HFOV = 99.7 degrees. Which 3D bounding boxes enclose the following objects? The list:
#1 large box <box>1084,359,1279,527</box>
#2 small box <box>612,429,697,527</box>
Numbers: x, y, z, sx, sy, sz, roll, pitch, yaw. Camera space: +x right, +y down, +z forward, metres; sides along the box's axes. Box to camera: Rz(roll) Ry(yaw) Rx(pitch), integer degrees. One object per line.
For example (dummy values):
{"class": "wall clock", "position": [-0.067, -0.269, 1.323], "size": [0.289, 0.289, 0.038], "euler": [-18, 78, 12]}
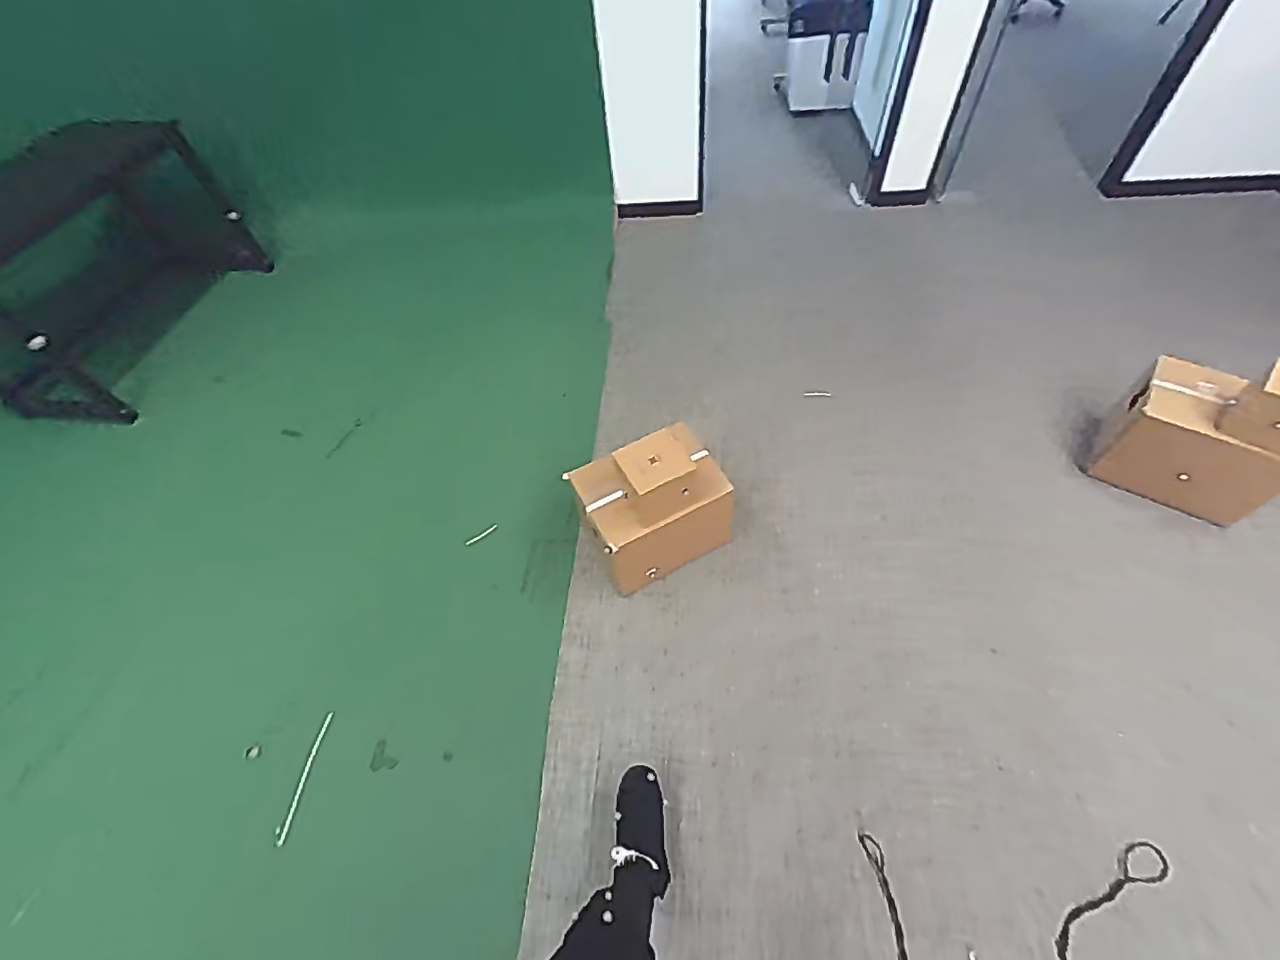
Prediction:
{"class": "large box", "position": [1.750, -0.118, 1.719], "size": [0.408, 0.320, 0.320], "euler": [27, 60, 24]}
{"class": "small box", "position": [0.040, -0.002, 1.478], "size": [0.179, 0.176, 0.168], "euler": [-25, 56, -13]}
